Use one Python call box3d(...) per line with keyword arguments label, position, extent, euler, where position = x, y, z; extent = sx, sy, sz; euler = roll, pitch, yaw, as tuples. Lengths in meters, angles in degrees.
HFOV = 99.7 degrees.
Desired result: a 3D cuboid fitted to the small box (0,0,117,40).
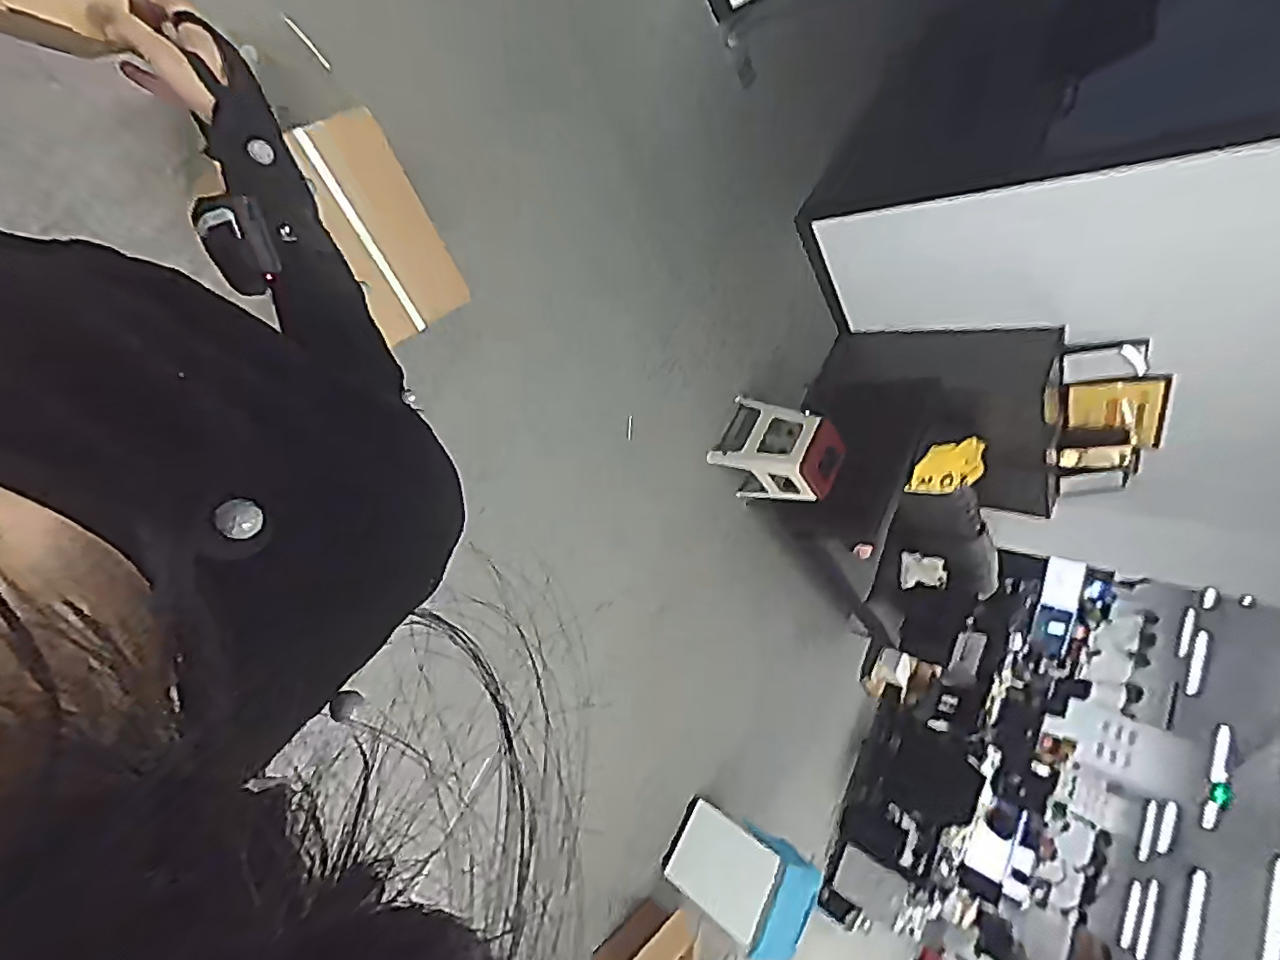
box3d(label="small box", position=(-0.459, -0.410, 0.330), extent=(0.168, 0.176, 0.179), euler=(-14, 124, -50))
